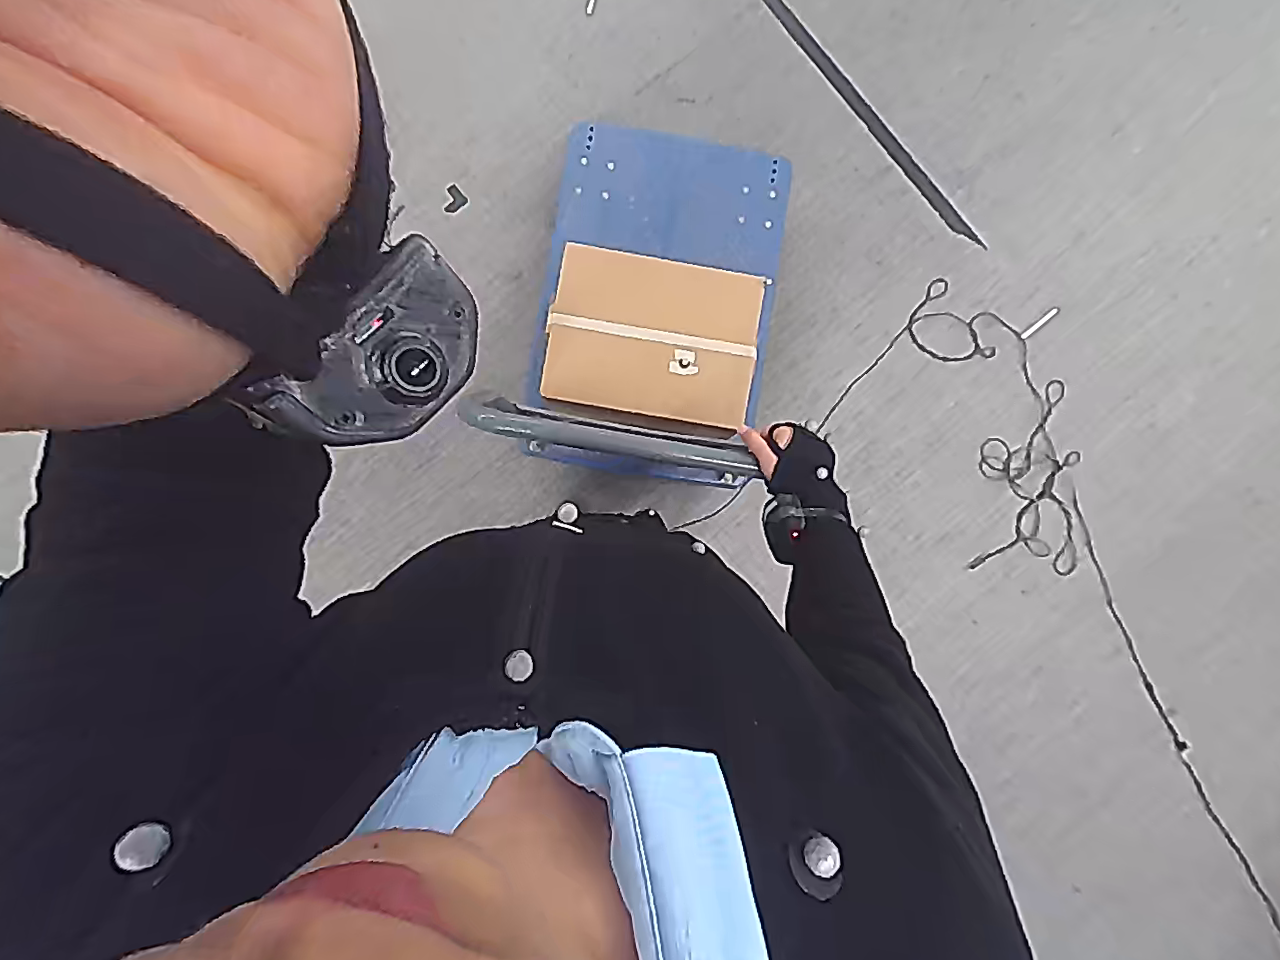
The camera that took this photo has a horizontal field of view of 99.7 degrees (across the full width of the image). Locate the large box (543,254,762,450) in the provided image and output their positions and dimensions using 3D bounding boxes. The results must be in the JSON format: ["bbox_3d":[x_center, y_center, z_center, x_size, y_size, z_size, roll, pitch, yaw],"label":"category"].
[{"bbox_3d":[0.018,-0.261,1.212,0.408,0.320,0.320,9,87,-3],"label":"large box"}]
